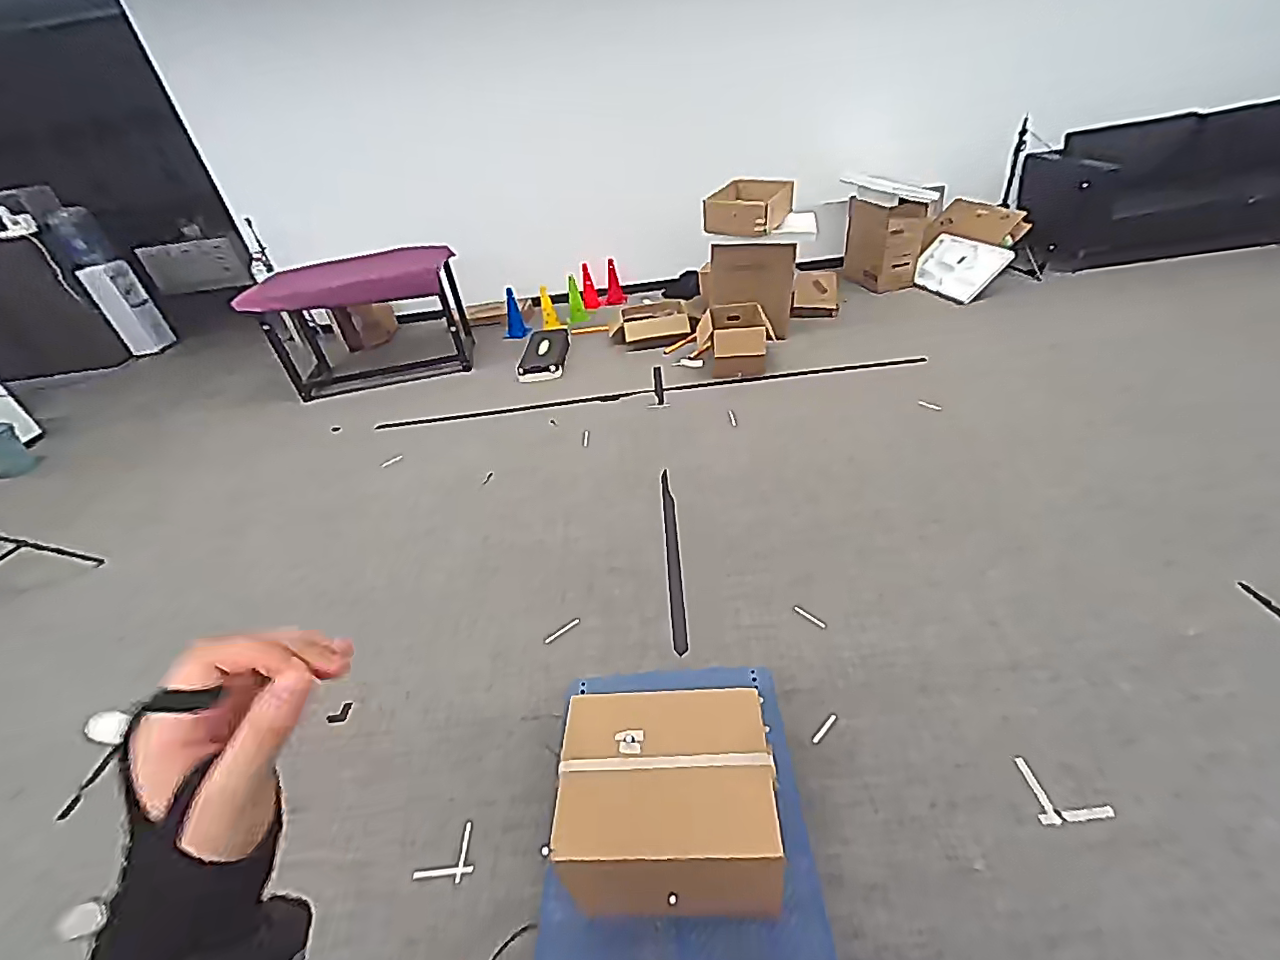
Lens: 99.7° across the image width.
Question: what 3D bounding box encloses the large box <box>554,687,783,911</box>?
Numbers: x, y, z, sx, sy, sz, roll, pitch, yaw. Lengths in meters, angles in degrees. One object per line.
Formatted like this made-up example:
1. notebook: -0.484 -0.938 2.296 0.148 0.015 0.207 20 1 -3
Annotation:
1. large box: 0.067 0.671 1.138 0.408 0.320 0.320 -5 36 6
